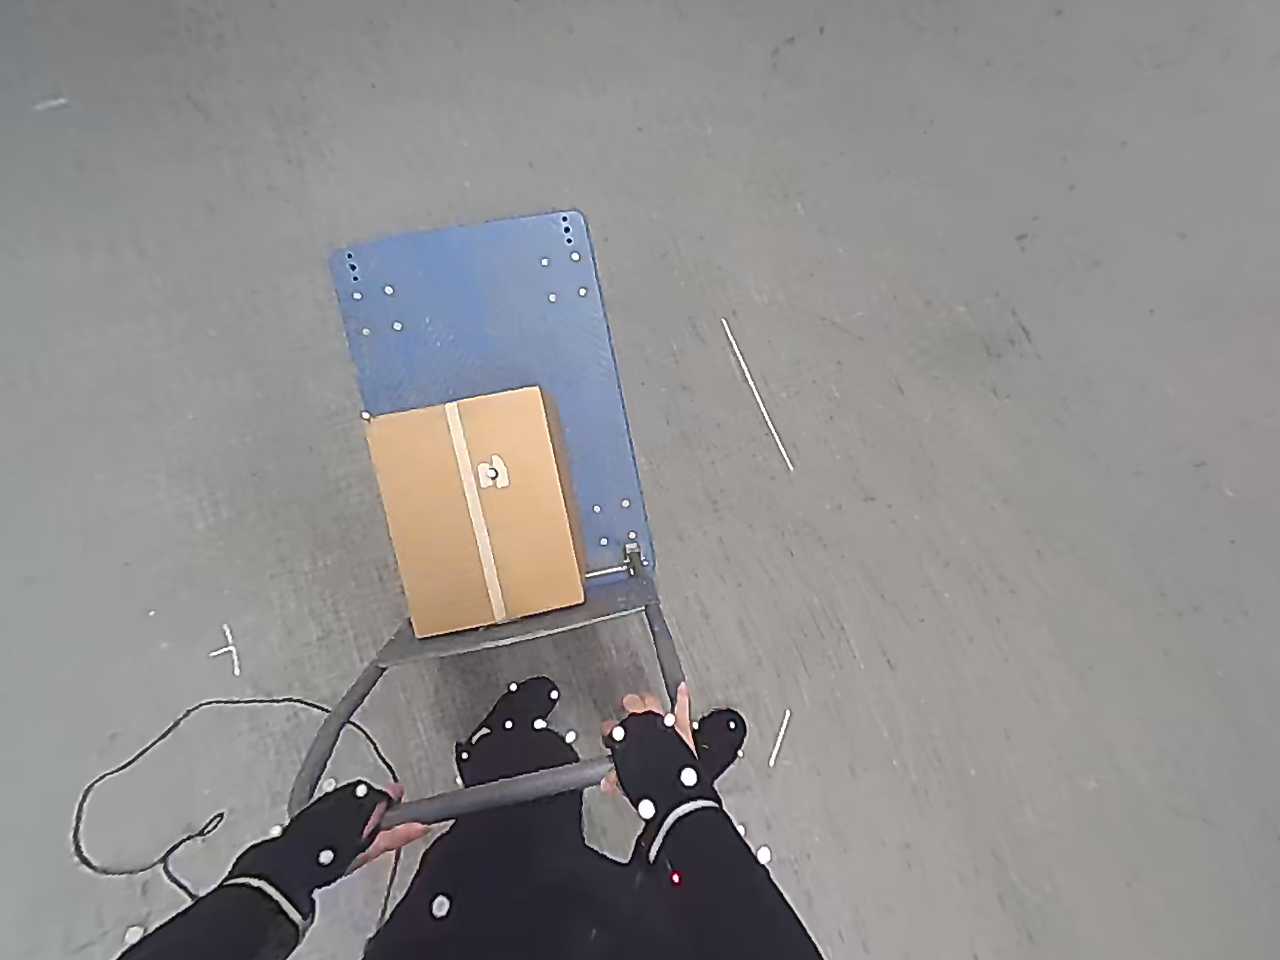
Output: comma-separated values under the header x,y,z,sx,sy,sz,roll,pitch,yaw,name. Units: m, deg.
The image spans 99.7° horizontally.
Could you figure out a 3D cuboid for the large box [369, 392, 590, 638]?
x,y,z,sx,sy,sz,roll,pitch,yaw,name
-0.298,0.056,1.122,0.320,0.320,0.408,-12,95,-4,large box
